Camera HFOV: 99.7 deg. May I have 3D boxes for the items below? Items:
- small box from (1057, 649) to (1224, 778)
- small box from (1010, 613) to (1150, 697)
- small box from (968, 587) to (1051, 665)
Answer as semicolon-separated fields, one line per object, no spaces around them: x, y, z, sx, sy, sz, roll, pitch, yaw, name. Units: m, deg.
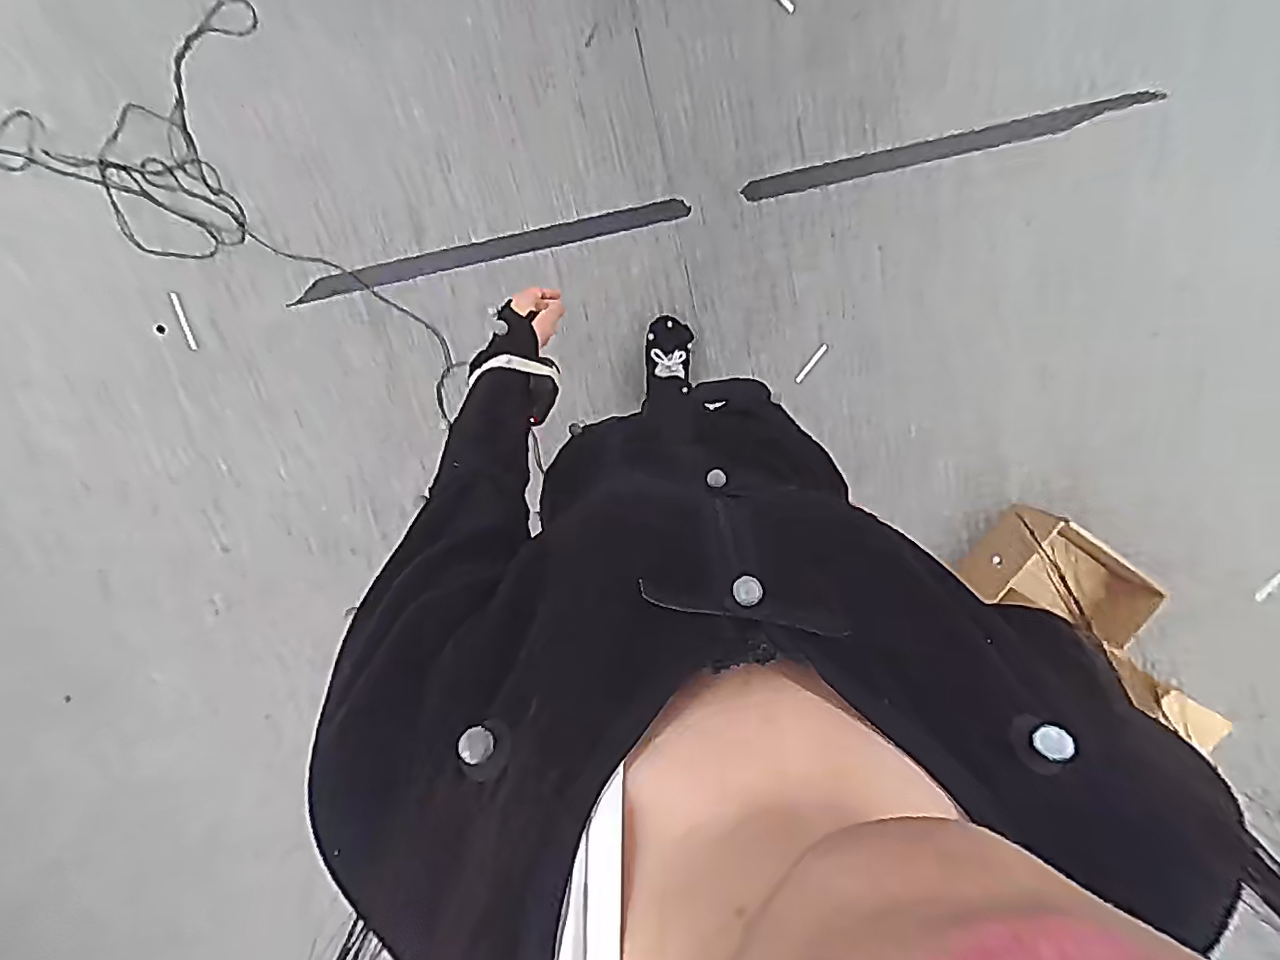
1.086;0.503;1.192;0.179;0.176;0.168;28;103;-8;small box
1.086;0.460;1.353;0.179;0.176;0.168;27;102;-9;small box
1.075;0.426;1.510;0.179;0.176;0.168;32;100;-8;small box
